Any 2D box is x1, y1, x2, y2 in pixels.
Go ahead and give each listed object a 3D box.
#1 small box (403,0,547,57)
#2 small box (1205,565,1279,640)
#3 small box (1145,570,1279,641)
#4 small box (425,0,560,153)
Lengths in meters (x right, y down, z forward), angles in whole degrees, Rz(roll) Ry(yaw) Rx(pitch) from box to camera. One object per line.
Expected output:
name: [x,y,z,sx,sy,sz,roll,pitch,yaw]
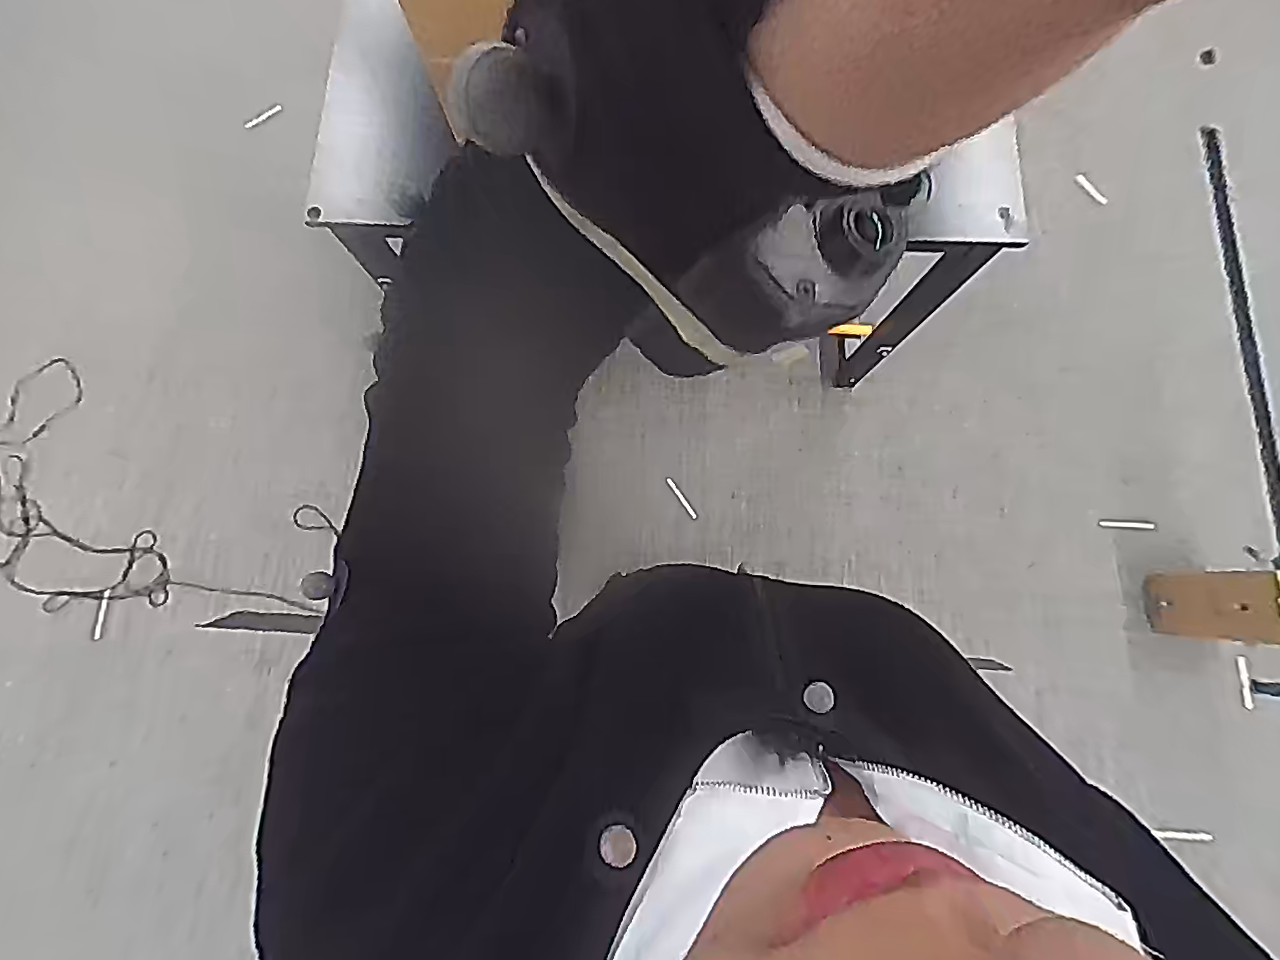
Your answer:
small box: [-0.224,-0.695,0.704,0.179,0.176,0.168,1,79,0]
small box: [1.482,0.288,1.260,0.179,0.176,0.168,1,79,1]
small box: [1.494,0.325,1.419,0.179,0.176,0.168,3,79,1]
small box: [-0.224,-0.666,0.866,0.168,0.176,0.179,2,80,1]
